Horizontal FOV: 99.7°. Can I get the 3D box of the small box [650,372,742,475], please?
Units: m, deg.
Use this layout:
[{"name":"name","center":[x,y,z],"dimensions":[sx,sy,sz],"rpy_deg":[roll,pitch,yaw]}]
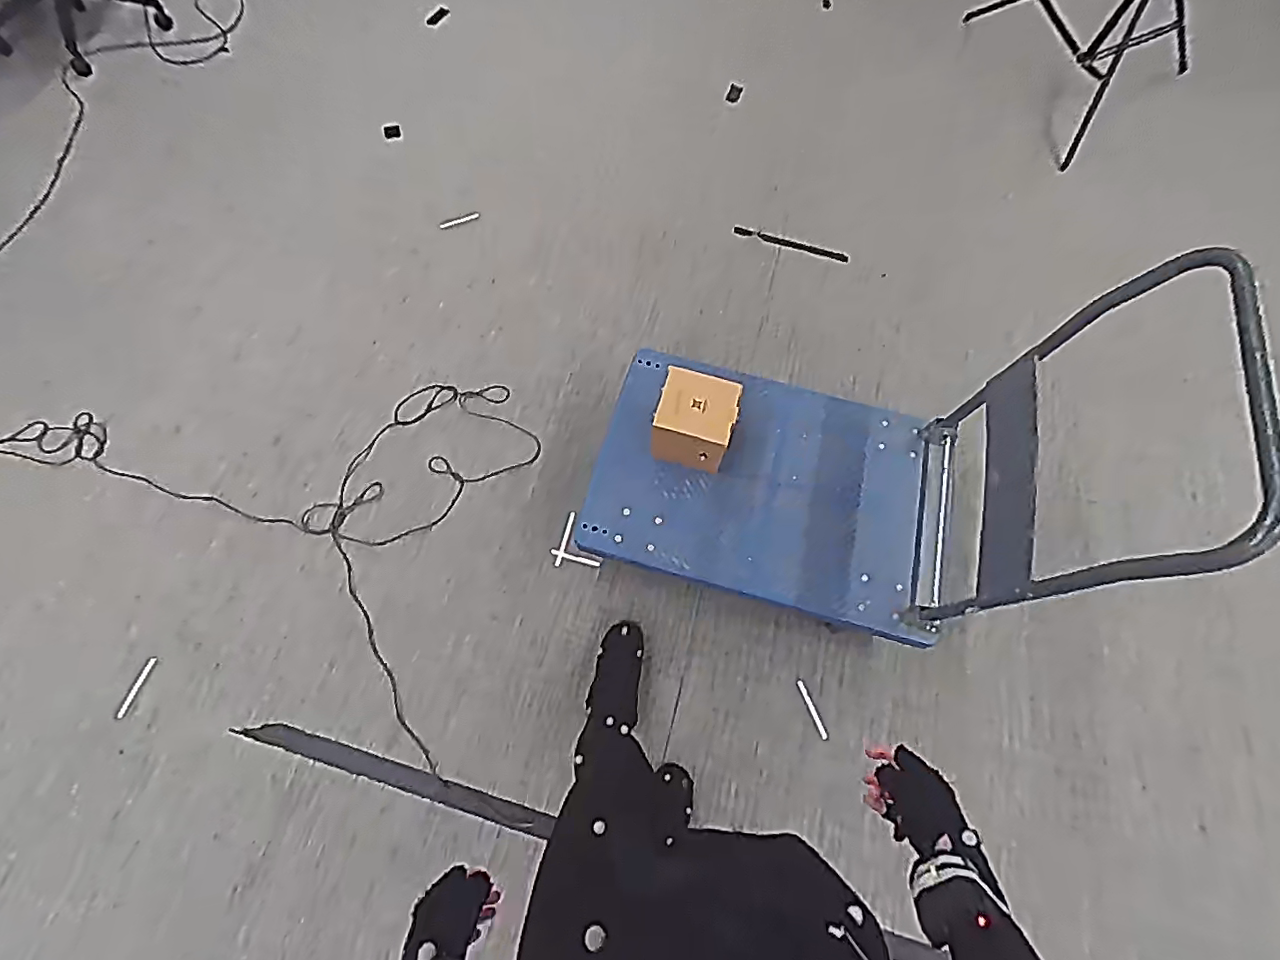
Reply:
[{"name":"small box","center":[0.129,-0.128,1.304],"dimensions":[0.179,0.176,0.168],"rpy_deg":[16,68,5]}]
